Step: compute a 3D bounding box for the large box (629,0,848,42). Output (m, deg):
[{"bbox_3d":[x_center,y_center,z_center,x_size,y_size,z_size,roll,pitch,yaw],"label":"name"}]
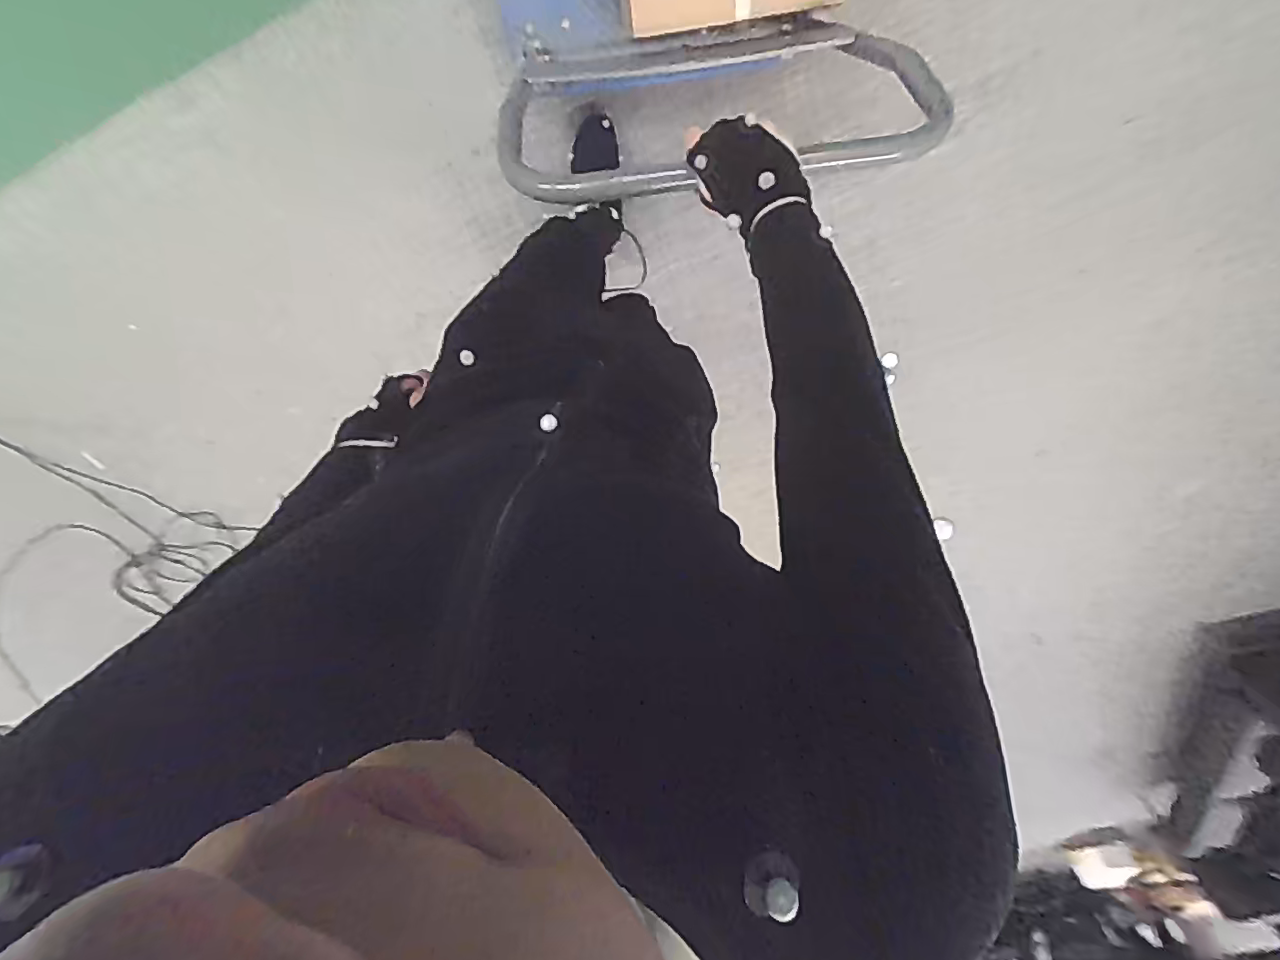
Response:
[{"bbox_3d":[0.118,-0.909,0.774,0.320,0.320,0.408,-8,130,1],"label":"large box"}]
